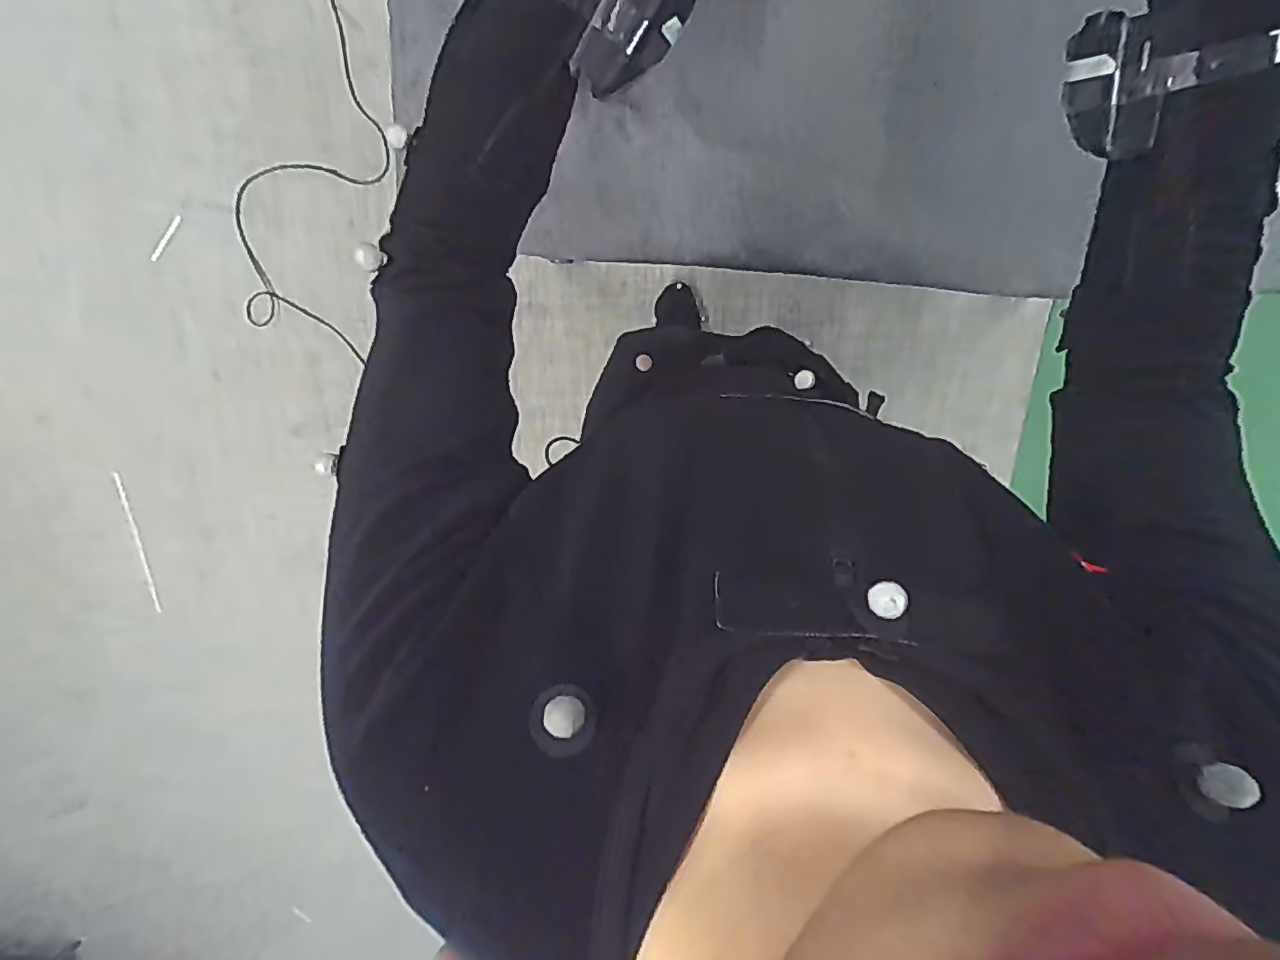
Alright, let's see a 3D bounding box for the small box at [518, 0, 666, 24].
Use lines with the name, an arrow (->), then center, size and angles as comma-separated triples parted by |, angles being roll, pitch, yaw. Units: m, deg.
small box -> -0.054, -0.559, 0.485 | 0.168, 0.176, 0.179 | 3, 106, 2
